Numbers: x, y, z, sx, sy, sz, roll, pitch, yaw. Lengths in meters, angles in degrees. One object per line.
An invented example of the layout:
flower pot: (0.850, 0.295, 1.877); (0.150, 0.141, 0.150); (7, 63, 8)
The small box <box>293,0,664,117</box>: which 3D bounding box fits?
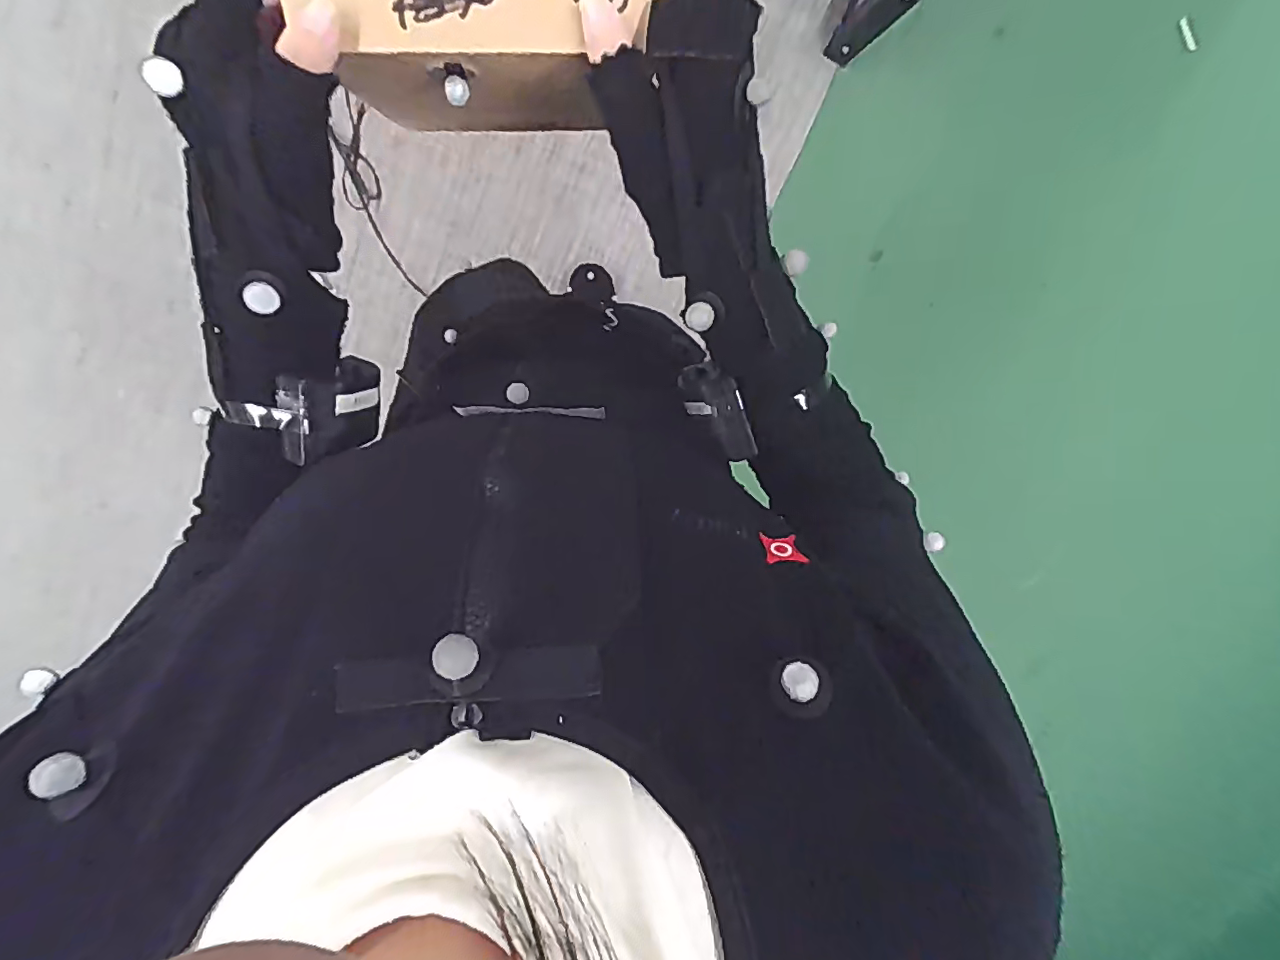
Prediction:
small box: (-0.079, -0.313, 0.279); (0.168, 0.176, 0.179); (-3, 112, -5)
